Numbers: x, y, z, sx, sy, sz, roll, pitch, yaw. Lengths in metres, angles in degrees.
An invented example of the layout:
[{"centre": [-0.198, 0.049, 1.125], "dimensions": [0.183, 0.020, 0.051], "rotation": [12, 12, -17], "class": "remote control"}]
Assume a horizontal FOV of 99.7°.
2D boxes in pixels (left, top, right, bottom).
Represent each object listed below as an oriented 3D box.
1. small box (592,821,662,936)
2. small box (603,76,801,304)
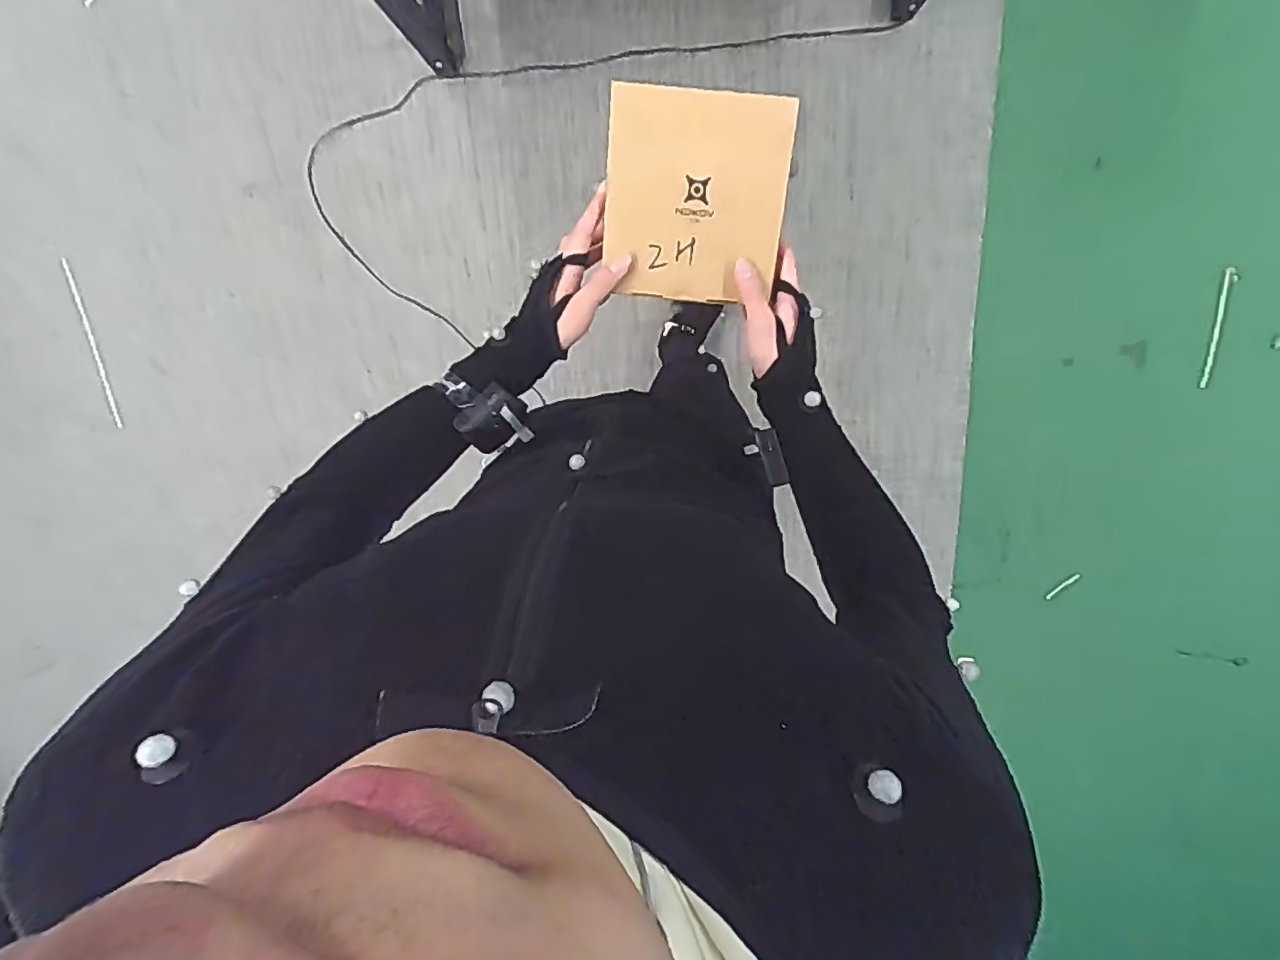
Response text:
[{"centre": [-0.029, 1.019, 1.388], "dimensions": [0.168, 0.176, 0.179], "rotation": [-1, 104, 3], "class": "small box"}, {"centre": [0.053, -0.284, 0.569], "dimensions": [0.168, 0.176, 0.179], "rotation": [5, 109, -1], "class": "small box"}]
